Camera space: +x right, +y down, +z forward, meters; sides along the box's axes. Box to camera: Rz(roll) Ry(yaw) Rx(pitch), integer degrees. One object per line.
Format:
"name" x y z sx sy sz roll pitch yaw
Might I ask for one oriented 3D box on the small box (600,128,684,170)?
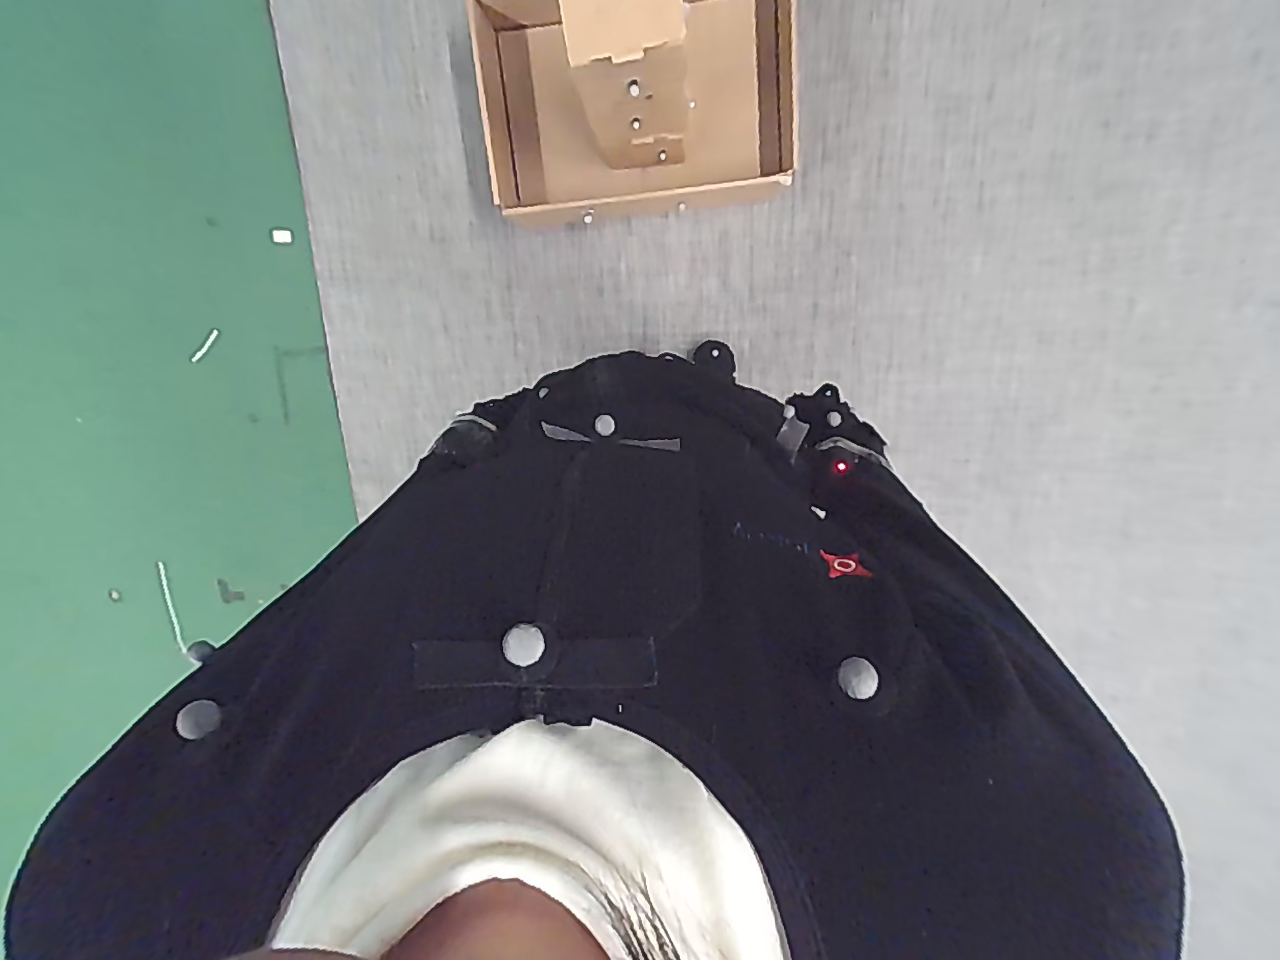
"small box" 0.006 -0.756 1.111 0.168 0.176 0.179 -2 103 5

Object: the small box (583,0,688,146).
"small box" -0.007 -0.715 0.953 0.179 0.176 0.168 -3 104 7

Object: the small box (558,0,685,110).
"small box" -0.023 -0.675 0.795 0.168 0.176 0.179 -6 104 7
